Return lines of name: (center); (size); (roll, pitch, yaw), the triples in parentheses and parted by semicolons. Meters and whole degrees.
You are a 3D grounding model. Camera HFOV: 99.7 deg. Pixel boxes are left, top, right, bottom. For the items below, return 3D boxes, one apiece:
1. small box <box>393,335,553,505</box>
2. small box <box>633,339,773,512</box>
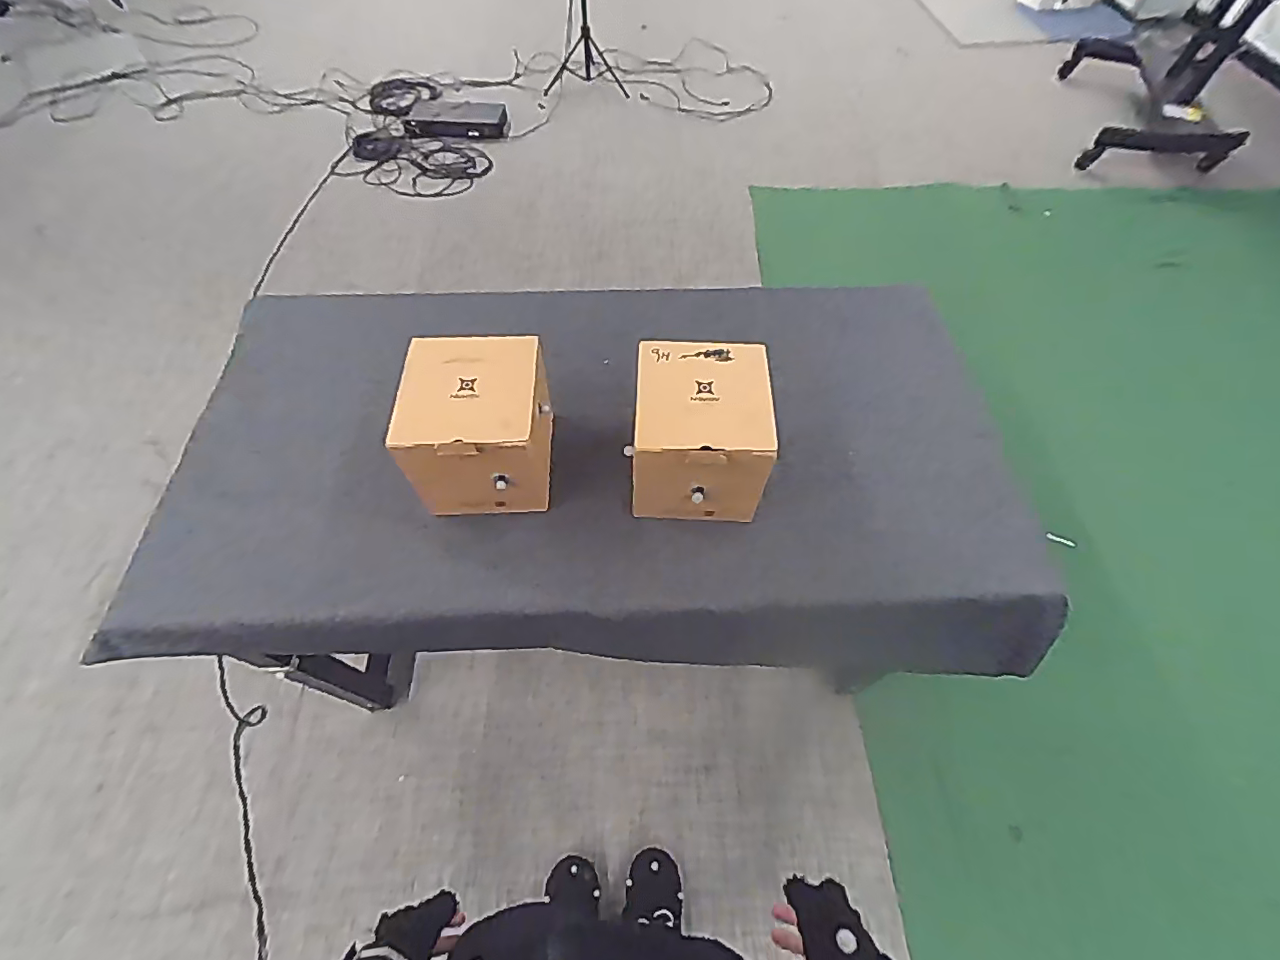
small box: (-0.211, -0.074, 0.738); (0.168, 0.176, 0.179); (-2, 57, -3)
small box: (0.077, -0.067, 0.734); (0.168, 0.176, 0.179); (2, 59, 0)
